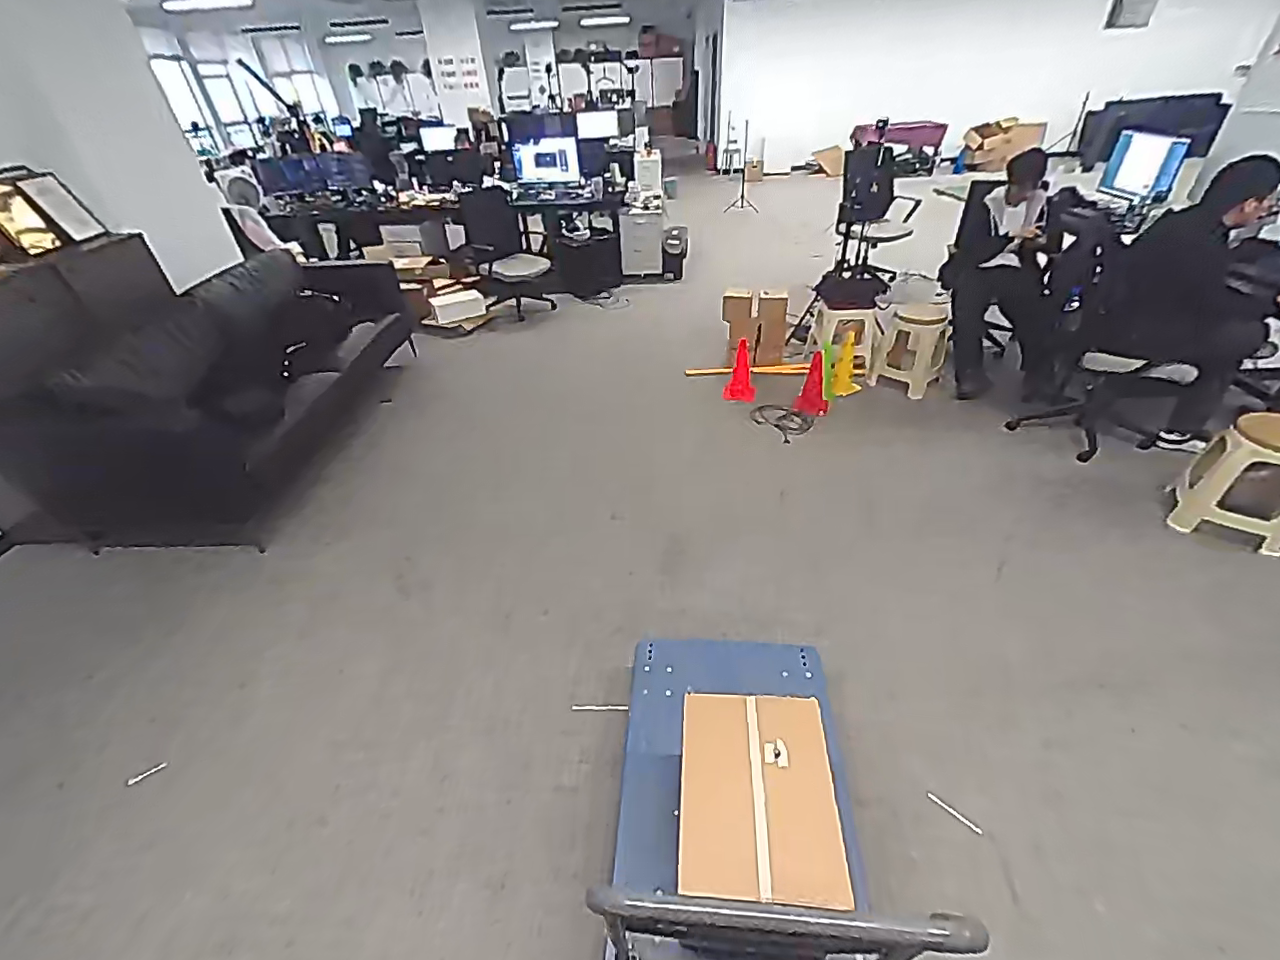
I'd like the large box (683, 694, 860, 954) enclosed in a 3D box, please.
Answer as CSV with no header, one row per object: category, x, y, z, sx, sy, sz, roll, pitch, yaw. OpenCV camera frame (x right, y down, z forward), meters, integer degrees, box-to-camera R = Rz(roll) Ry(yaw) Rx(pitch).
large box,0.256,0.744,1.194,0.320,0.320,0.408,1,36,6
